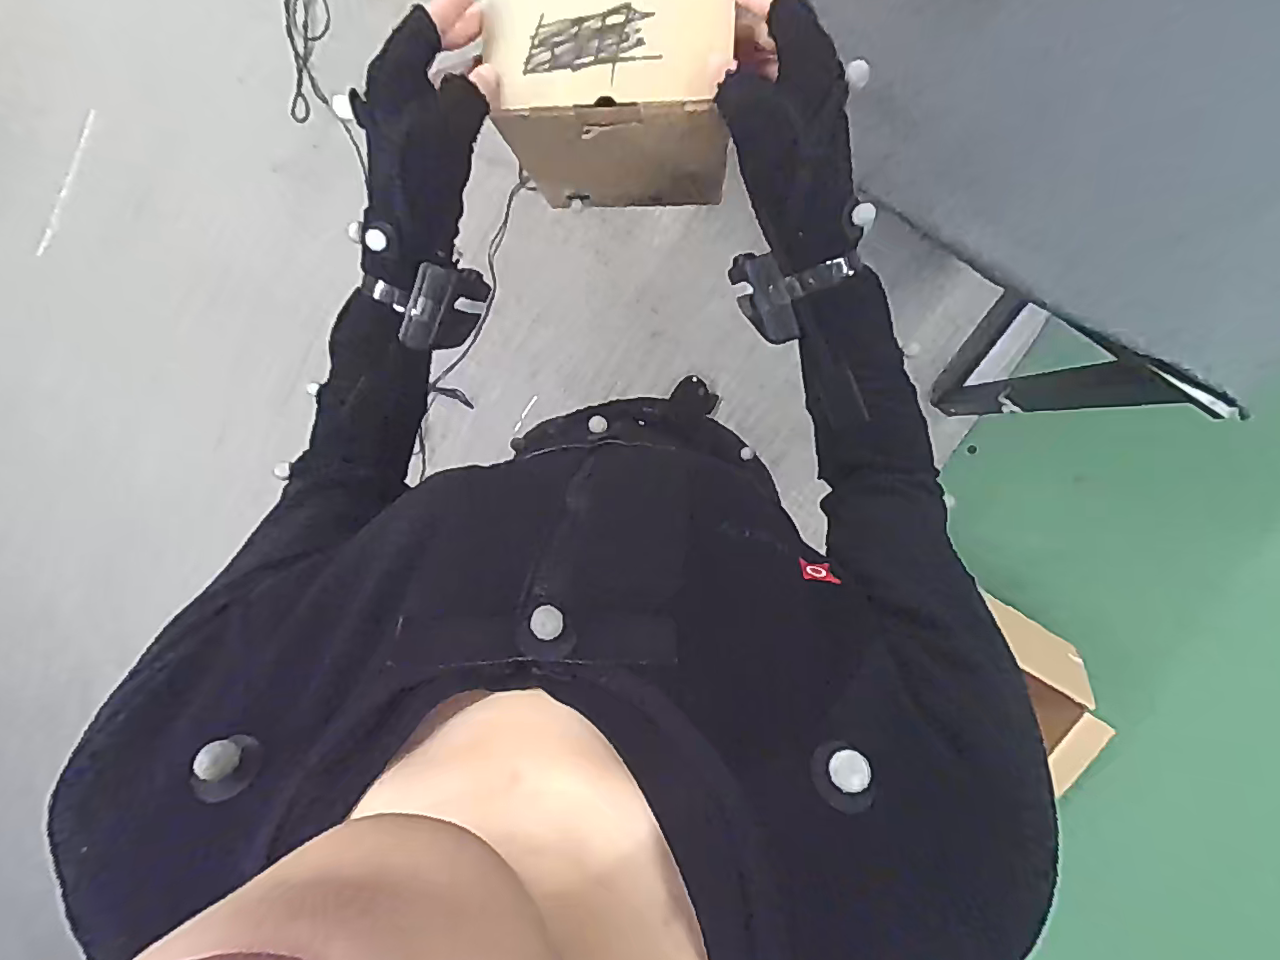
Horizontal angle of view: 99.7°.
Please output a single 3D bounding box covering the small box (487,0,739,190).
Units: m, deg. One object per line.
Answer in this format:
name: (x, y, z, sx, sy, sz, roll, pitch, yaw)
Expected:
small box: (-0.009, -0.344, 0.419, 0.168, 0.176, 0.179, 2, 97, 6)
